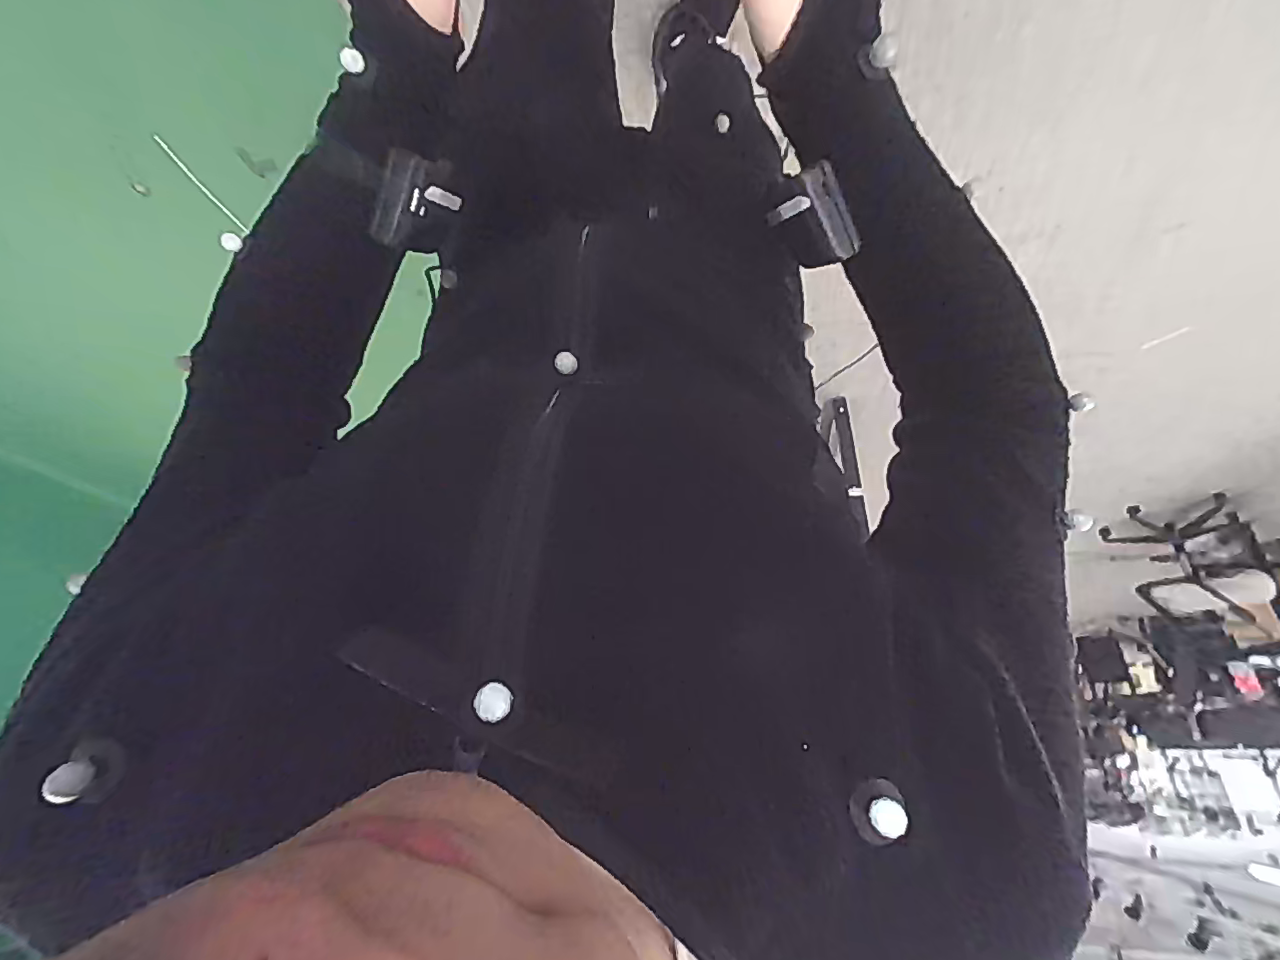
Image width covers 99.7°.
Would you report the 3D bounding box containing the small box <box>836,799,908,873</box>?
[{"bbox_3d":[0.720,1.108,1.697,0.179,0.176,0.168,-4,154,13],"label":"small box"}]
